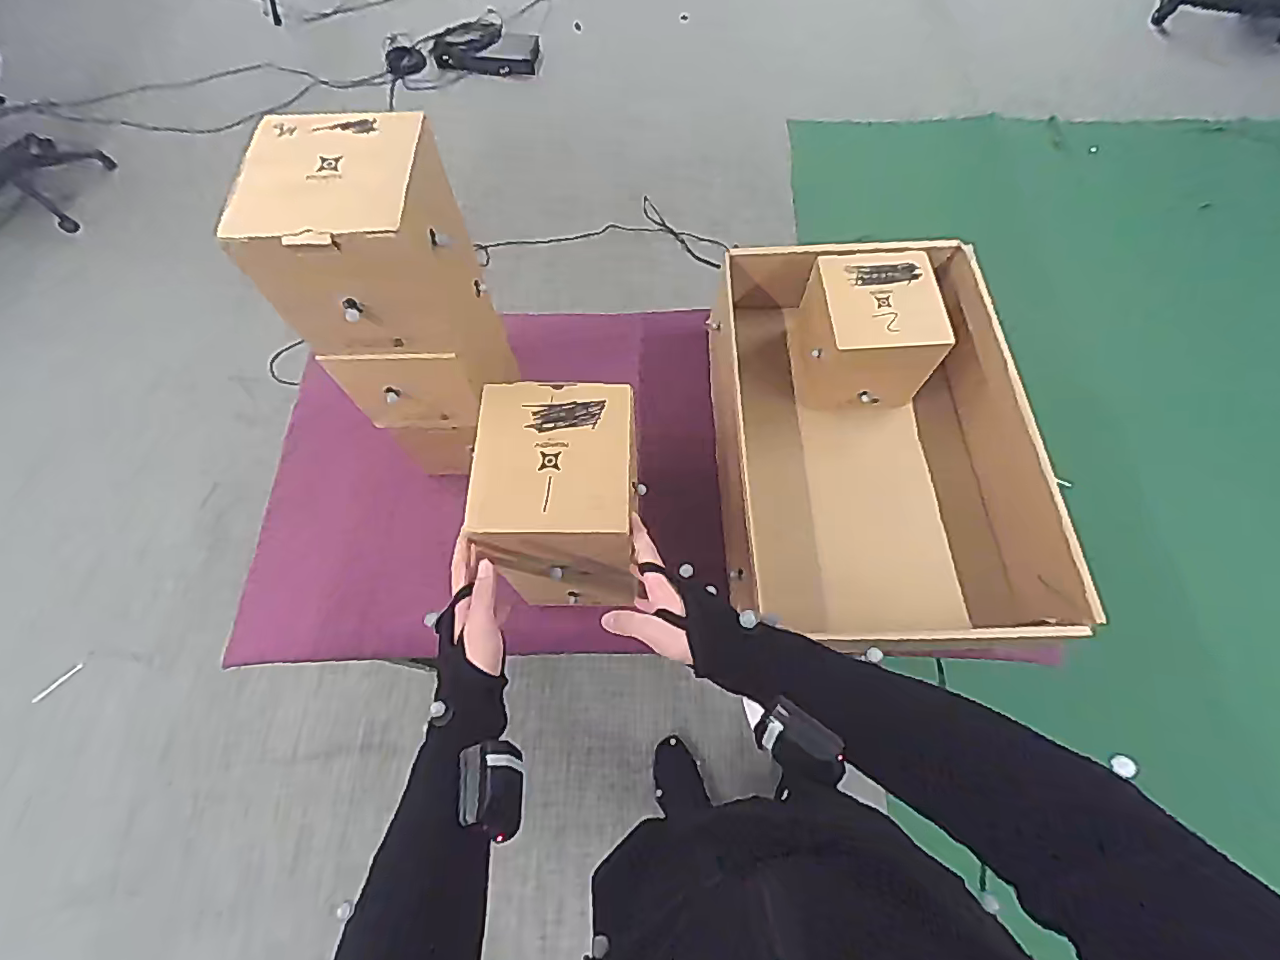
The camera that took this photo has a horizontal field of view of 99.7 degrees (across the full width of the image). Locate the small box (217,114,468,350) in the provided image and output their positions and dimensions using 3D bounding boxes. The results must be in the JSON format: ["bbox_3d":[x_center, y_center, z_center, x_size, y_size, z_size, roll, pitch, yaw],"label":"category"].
[{"bbox_3d":[-0.297,-0.256,0.586,0.168,0.176,0.179,-1,66,-1],"label":"small box"}]

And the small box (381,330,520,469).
[{"bbox_3d":[-0.293,-0.123,0.884,0.168,0.176,0.179,0,66,0],"label":"small box"}]

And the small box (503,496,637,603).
[{"bbox_3d":[-0.089,0.078,0.786,0.168,0.176,0.179,0,65,1],"label":"small box"}]

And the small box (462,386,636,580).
[{"bbox_3d":[-0.091,0.009,0.637,0.168,0.176,0.179,0,65,2],"label":"small box"}]

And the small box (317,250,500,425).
[{"bbox_3d":[-0.296,-0.185,0.734,0.168,0.176,0.179,-1,65,0],"label":"small box"}]
